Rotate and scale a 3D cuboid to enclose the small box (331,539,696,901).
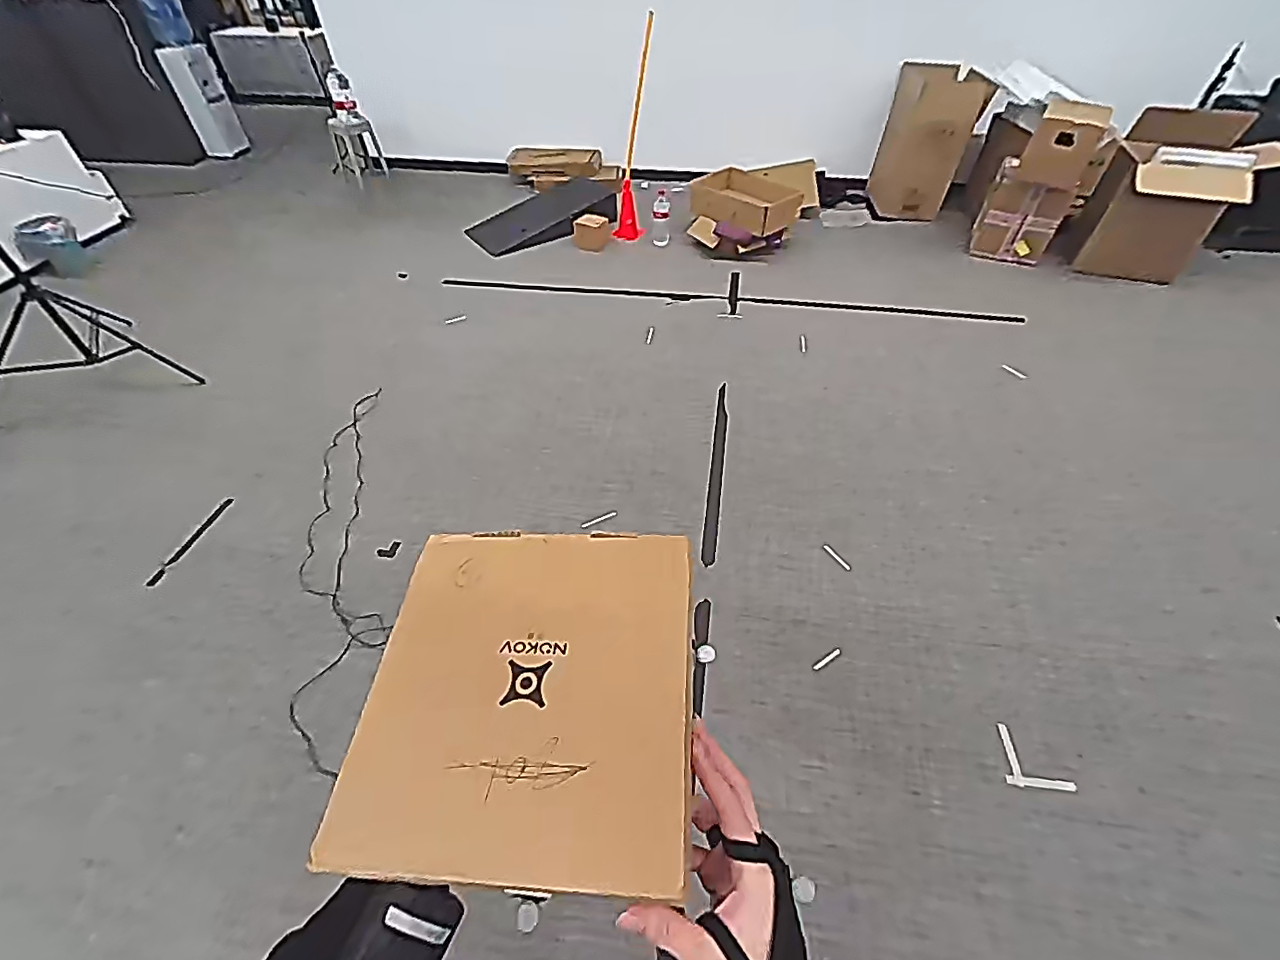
[{"bbox_3d":[-0.049,0.156,0.351,0.168,0.176,0.179,-1,52,7],"label":"small box"}]
